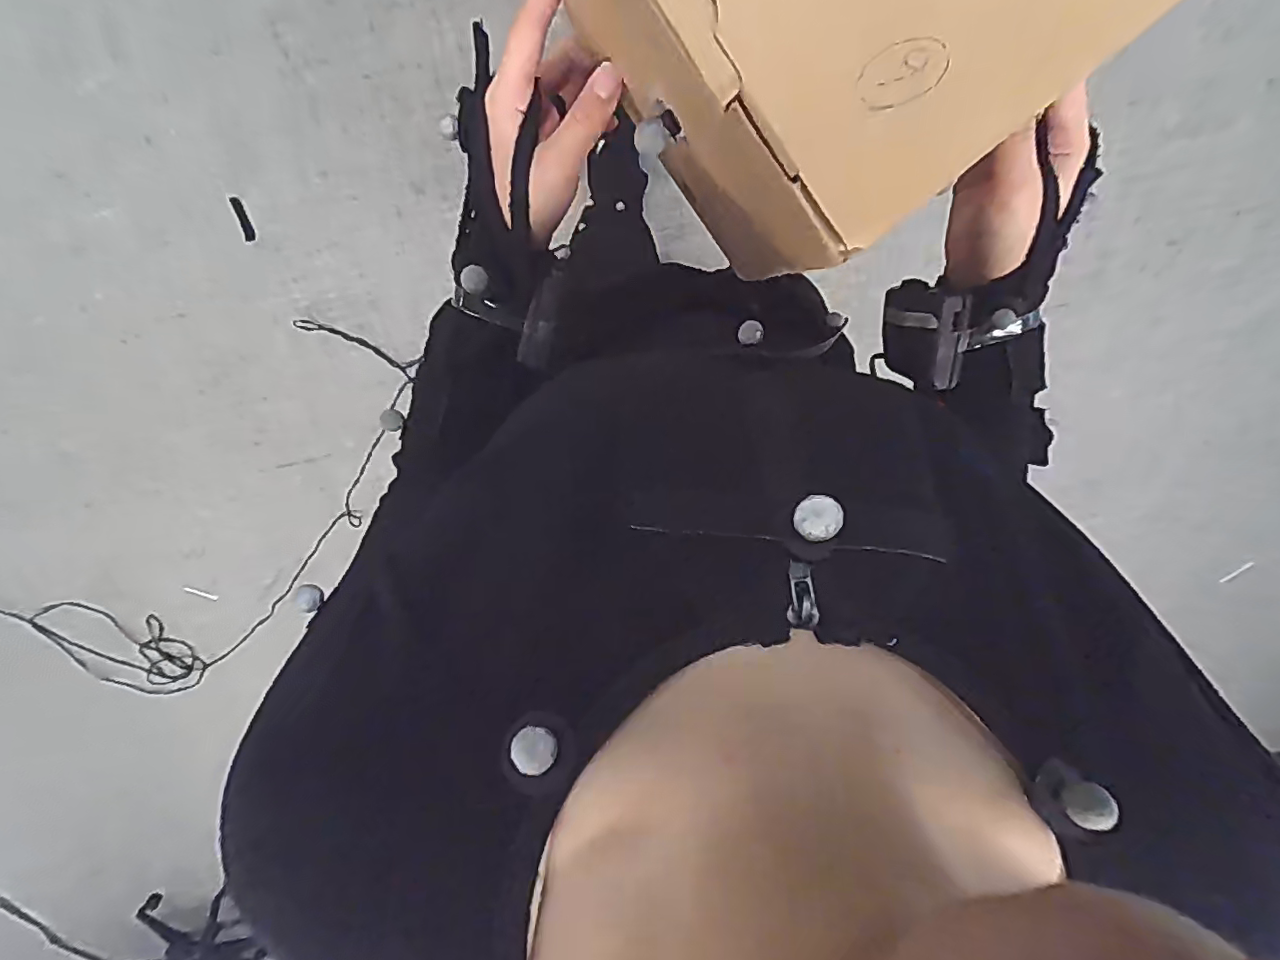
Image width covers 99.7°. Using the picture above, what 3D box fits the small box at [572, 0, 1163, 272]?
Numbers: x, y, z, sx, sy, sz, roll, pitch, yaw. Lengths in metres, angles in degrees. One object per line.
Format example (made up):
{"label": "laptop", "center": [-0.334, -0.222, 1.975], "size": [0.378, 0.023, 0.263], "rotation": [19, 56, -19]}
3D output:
{"label": "small box", "center": [0.077, -0.204, 0.215], "size": [0.179, 0.176, 0.168], "rotation": [-37, 104, 11]}
